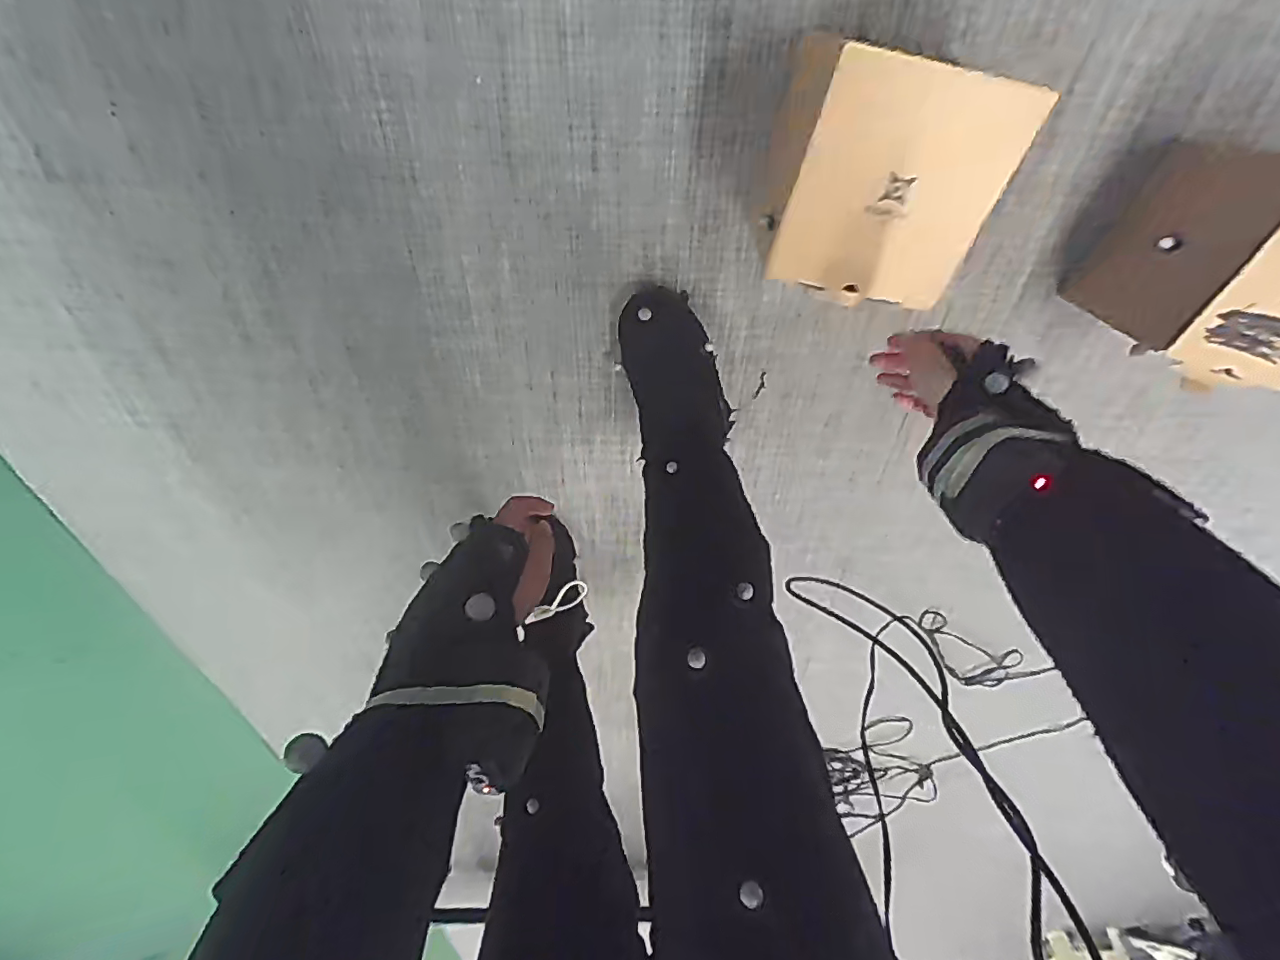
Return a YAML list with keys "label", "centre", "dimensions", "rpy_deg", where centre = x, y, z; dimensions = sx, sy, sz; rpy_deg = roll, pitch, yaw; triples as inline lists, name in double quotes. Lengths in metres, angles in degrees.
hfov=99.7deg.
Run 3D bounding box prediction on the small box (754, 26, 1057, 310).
- label: "small box"
  centre: [0.211, -0.288, 0.497]
  dimensions: [0.168, 0.176, 0.179]
  rpy_deg: [12, 132, -5]
